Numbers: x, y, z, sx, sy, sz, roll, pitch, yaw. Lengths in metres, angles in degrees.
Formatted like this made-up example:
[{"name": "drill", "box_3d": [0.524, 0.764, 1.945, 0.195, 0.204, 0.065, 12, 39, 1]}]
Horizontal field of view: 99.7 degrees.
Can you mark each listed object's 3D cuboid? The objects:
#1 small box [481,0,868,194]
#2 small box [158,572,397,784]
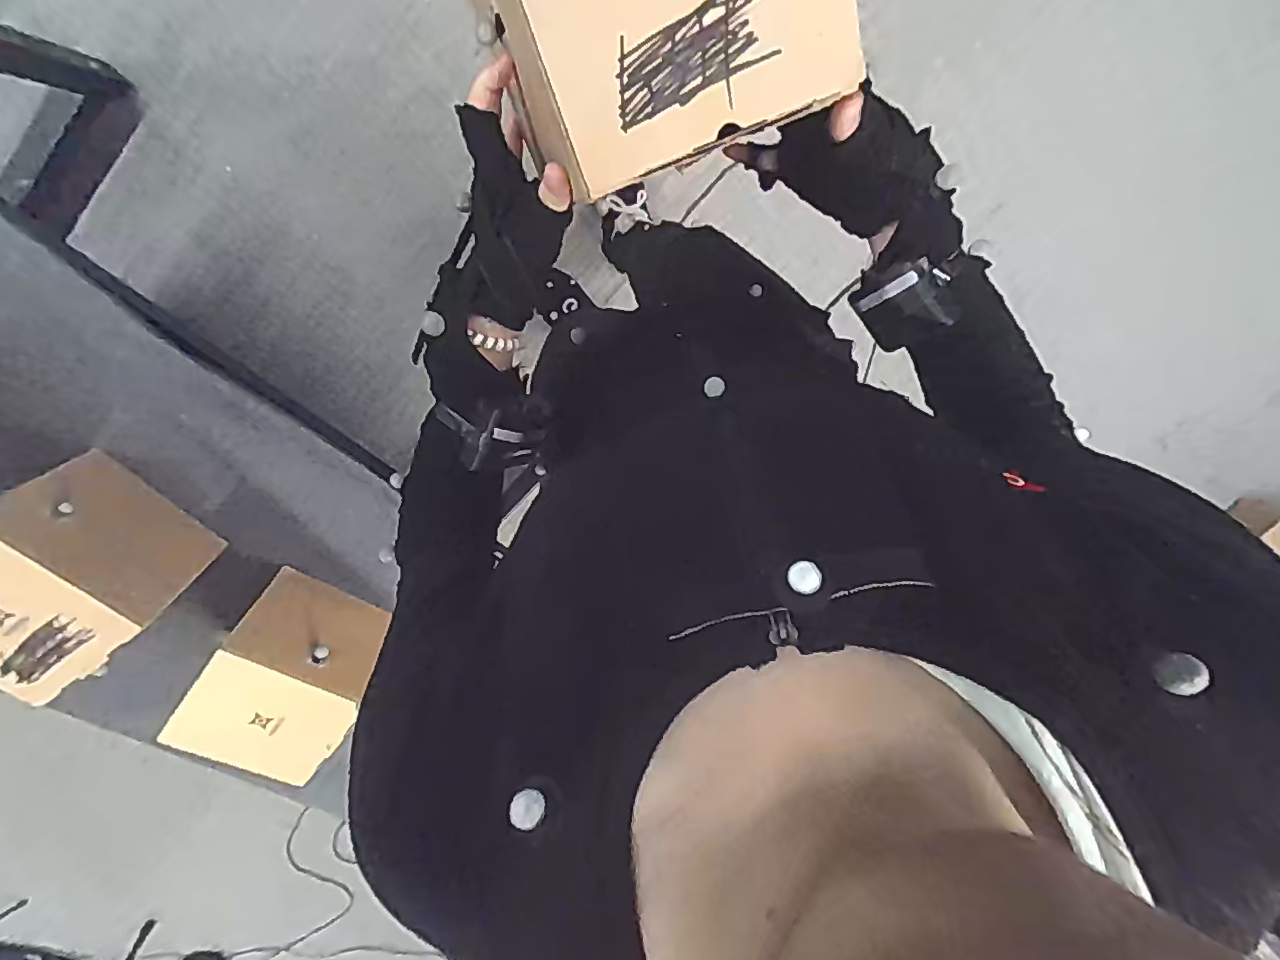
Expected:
[{"name": "small box", "box_3d": [0.002, -0.287, 0.318, 0.168, 0.176, 0.179, -25, 117, -5]}, {"name": "small box", "box_3d": [-0.452, 0.248, 0.706, 0.179, 0.176, 0.168, 35, 105, -23]}]
